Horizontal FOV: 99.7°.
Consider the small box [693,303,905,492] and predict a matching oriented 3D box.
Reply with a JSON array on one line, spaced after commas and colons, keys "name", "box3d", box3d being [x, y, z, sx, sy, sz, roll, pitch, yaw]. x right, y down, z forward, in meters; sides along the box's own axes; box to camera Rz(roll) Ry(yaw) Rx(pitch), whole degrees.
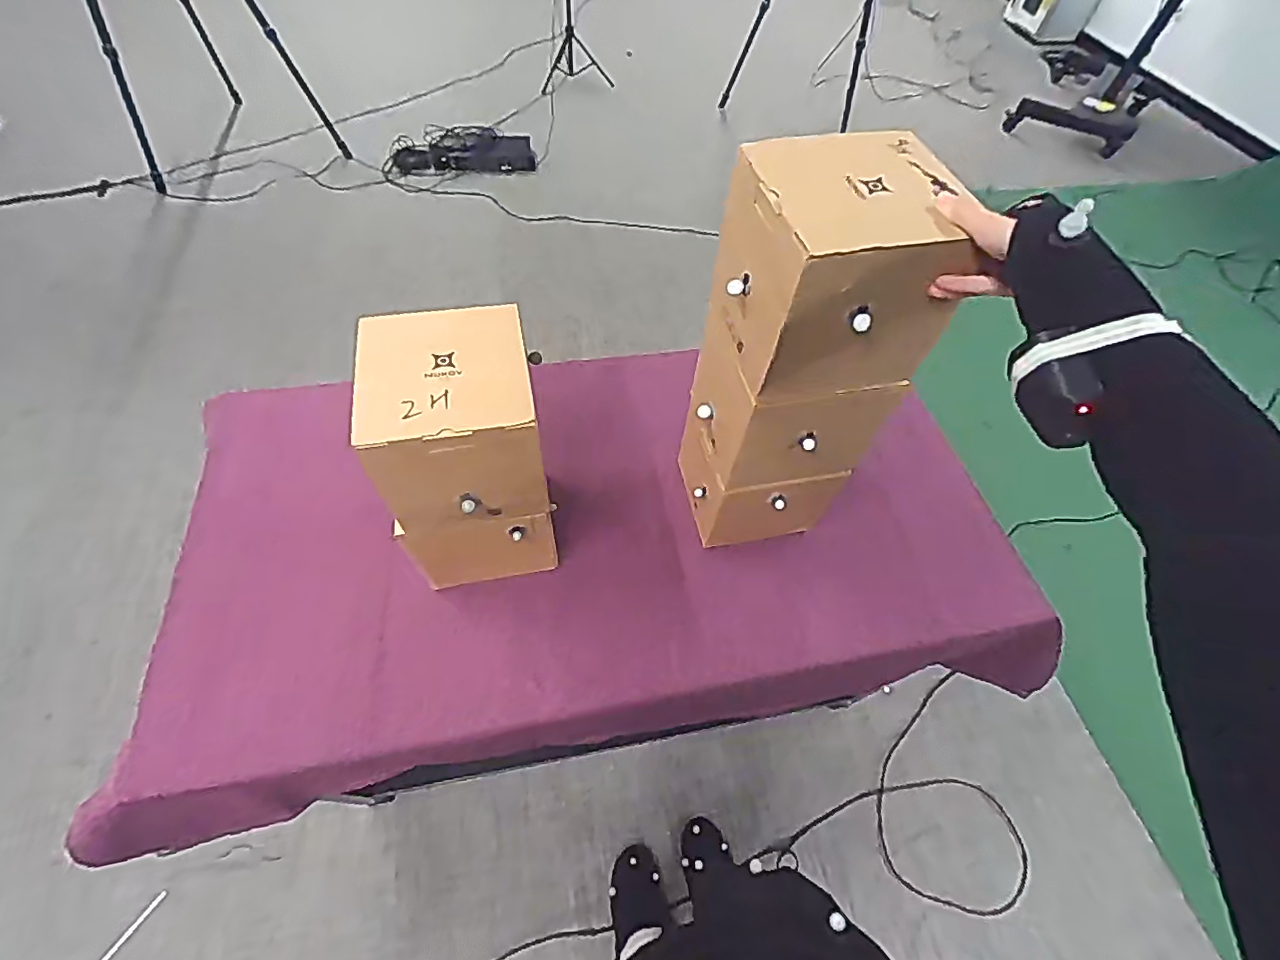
[{"name": "small box", "box3d": [0.176, -0.104, 0.662, 0.179, 0.176, 0.168, -9, 58, -8]}]

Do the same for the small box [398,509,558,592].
[{"name": "small box", "box3d": [-0.215, 0.039, 0.742, 0.179, 0.176, 0.168, -9, 57, -10]}]

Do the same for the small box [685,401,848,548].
[{"name": "small box", "box3d": [0.169, -0.013, 0.798, 0.179, 0.176, 0.168, -8, 58, -9]}]

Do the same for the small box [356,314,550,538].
[{"name": "small box", "box3d": [-0.198, -0.059, 0.609, 0.168, 0.176, 0.179, -9, 57, -10]}]

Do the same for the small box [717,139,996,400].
[{"name": "small box", "box3d": [0.182, -0.196, 0.526, 0.179, 0.176, 0.168, -10, 59, -8]}]
